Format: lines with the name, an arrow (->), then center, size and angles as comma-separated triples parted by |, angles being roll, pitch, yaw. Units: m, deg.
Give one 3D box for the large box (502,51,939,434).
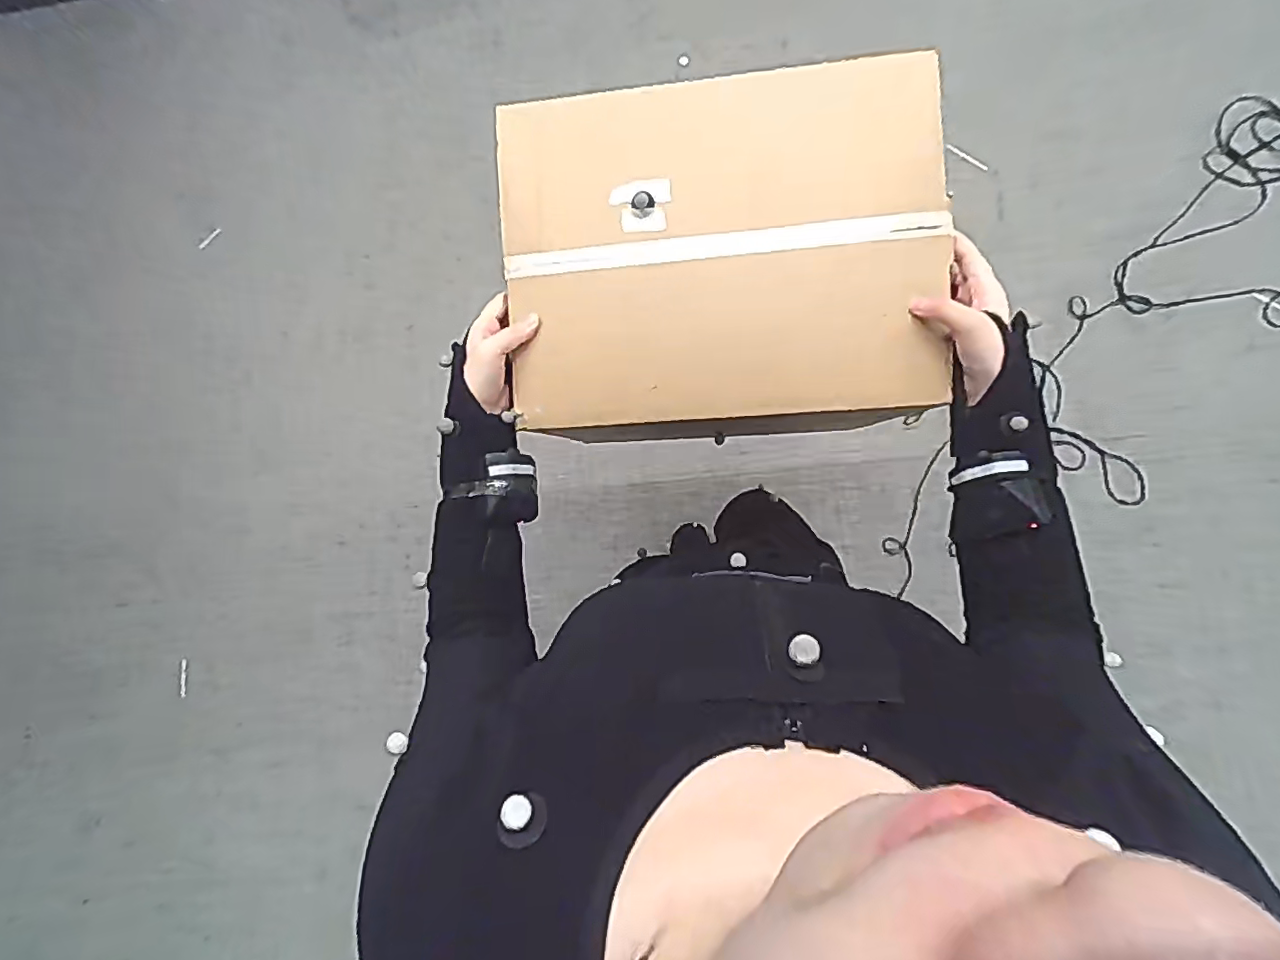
large box -> 0.089, -0.226, 0.661 | 0.408, 0.320, 0.320 | -3, 91, 8
